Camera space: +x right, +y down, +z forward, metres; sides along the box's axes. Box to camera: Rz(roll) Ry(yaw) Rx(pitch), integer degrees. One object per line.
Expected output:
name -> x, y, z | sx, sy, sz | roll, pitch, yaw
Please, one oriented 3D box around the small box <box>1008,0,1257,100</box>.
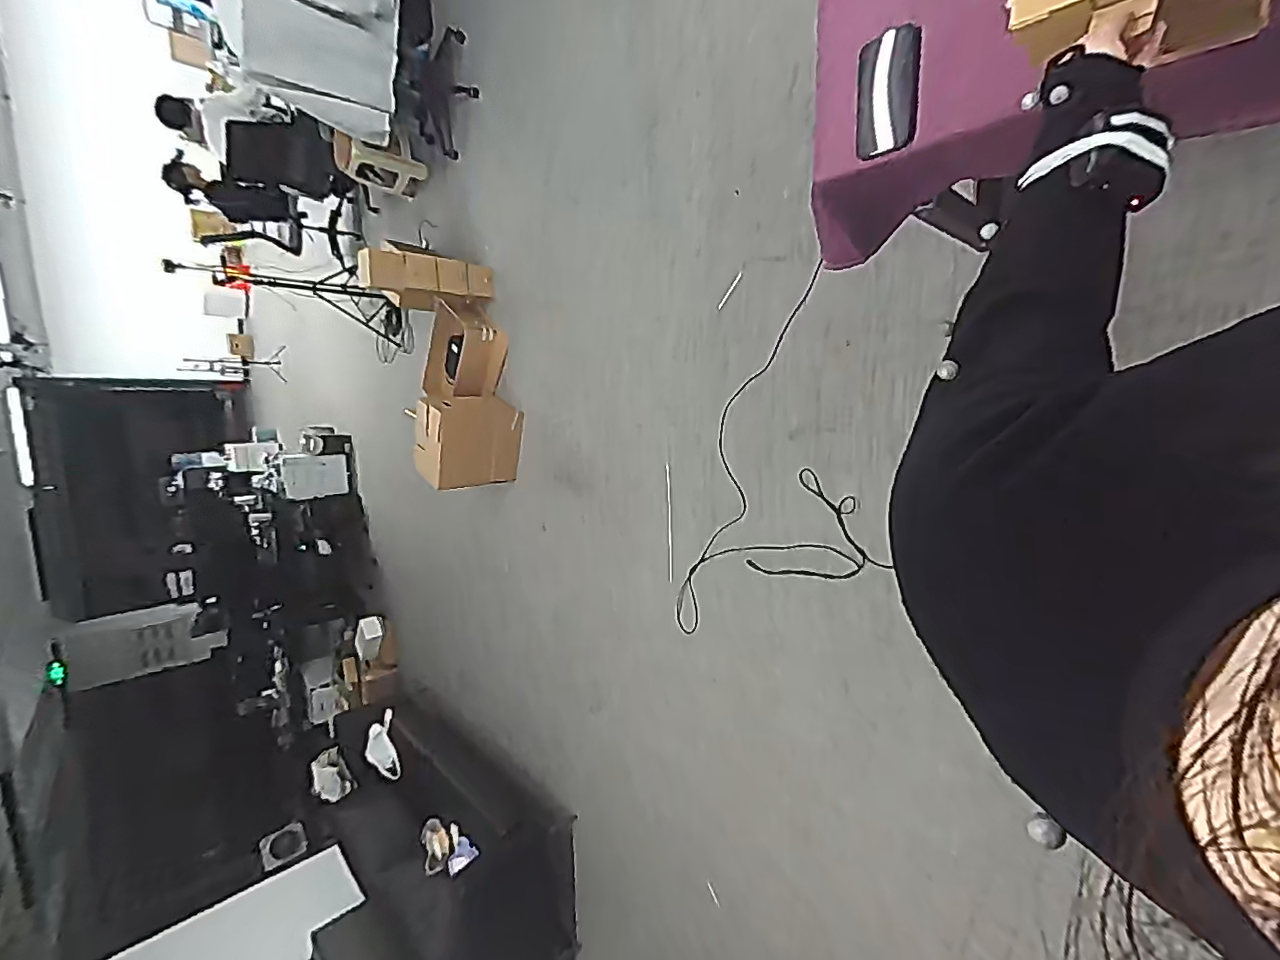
small box -> 0.471, -0.503, 0.503 | 0.168, 0.176, 0.179 | 13, 105, 45
